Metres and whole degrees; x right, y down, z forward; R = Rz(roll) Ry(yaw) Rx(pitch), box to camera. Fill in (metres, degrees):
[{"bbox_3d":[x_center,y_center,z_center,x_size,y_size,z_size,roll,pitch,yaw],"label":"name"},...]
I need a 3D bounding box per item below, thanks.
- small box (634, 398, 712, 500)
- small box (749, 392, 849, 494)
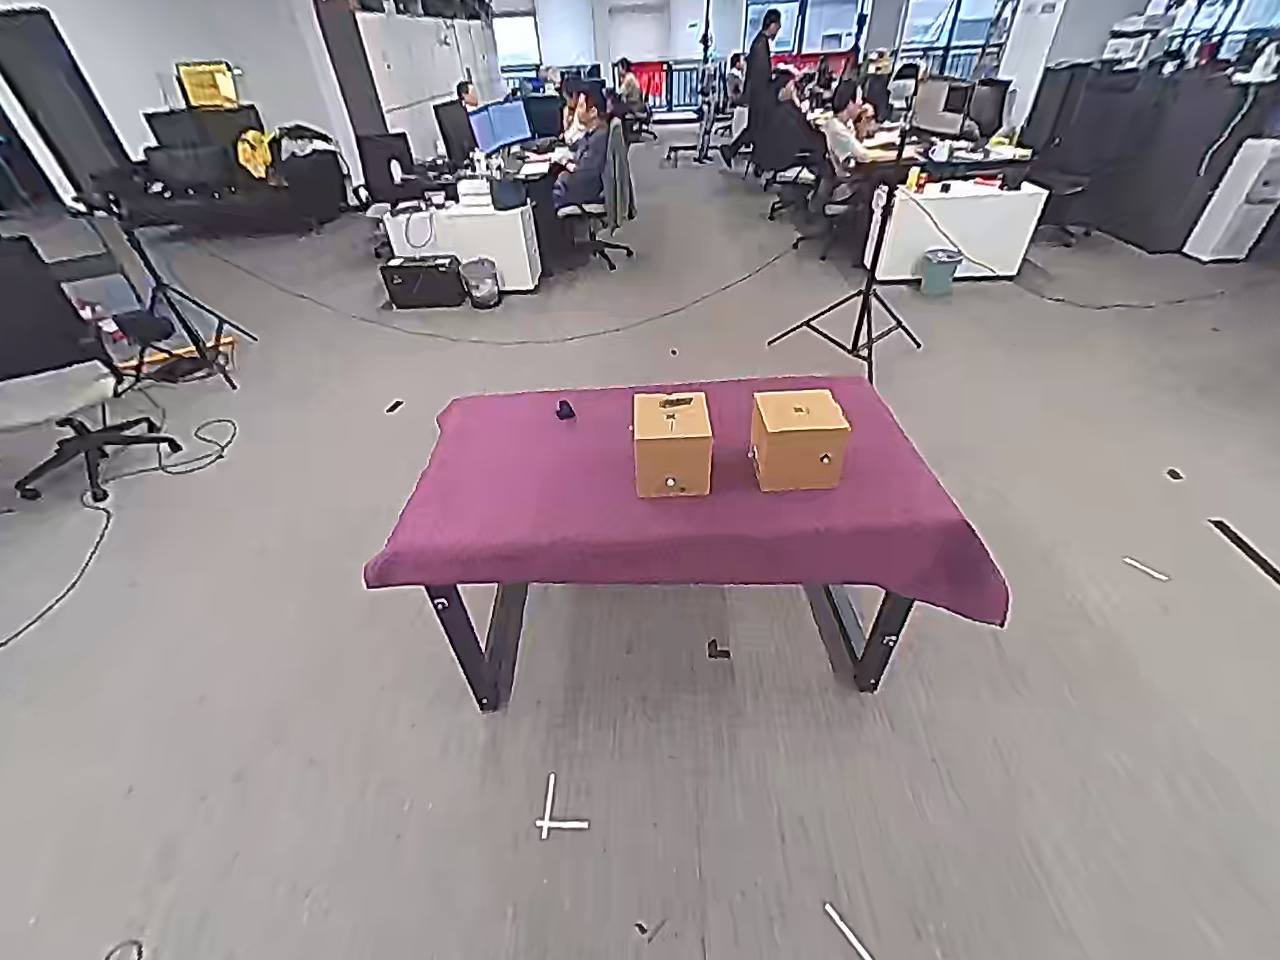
[{"bbox_3d":[0.072,-0.073,1.249,0.168,0.176,0.179,-3,39,2],"label":"small box"},{"bbox_3d":[0.356,-0.083,1.243,0.179,0.176,0.168,-5,37,1],"label":"small box"}]
